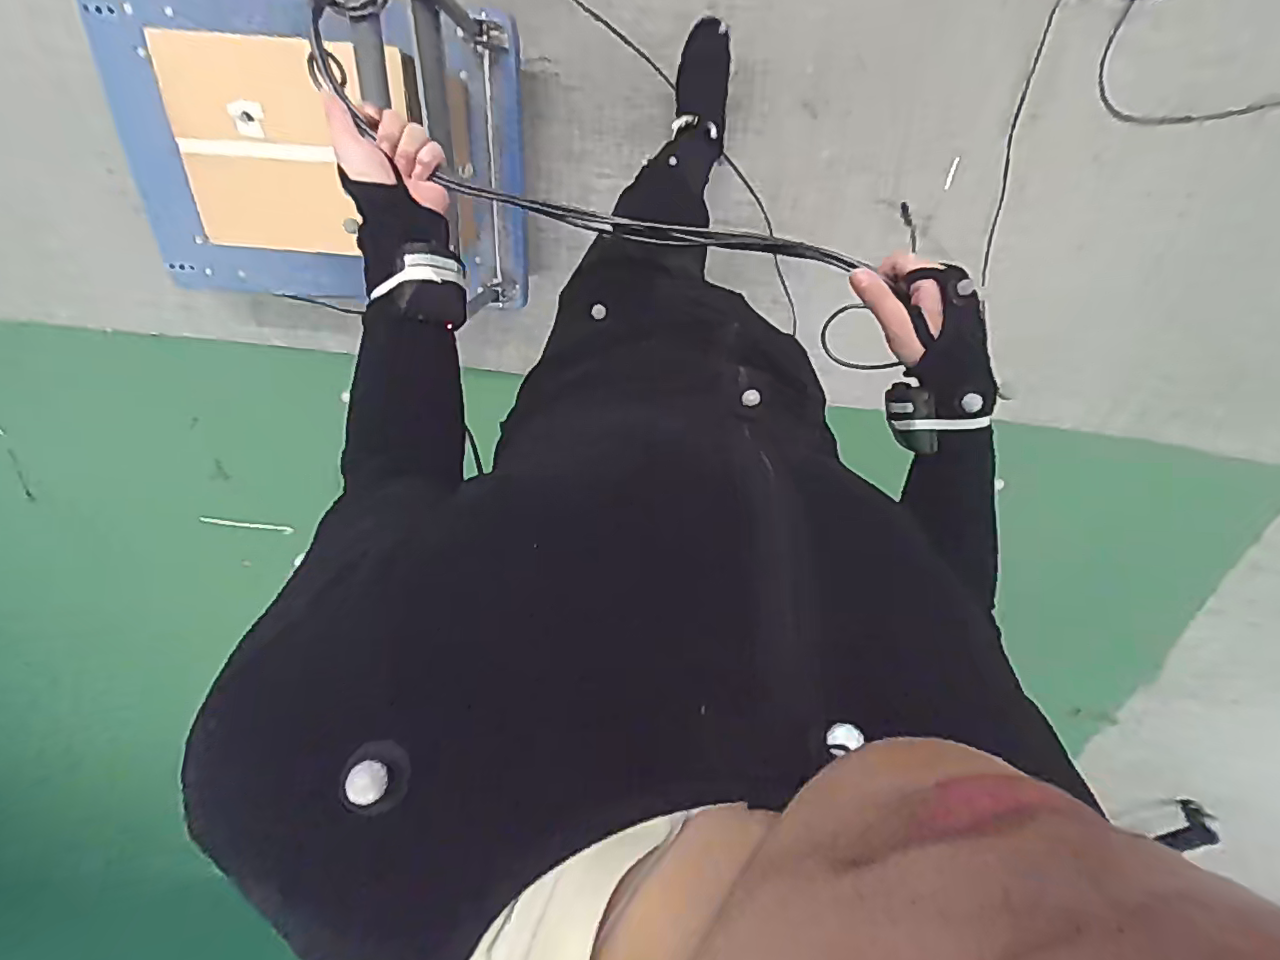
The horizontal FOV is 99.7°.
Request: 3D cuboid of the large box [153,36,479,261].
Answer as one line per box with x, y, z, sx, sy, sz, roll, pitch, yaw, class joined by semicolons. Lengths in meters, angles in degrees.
-0.564;-0.618;1.041;0.408;0.320;0.320;5;118;1;large box
